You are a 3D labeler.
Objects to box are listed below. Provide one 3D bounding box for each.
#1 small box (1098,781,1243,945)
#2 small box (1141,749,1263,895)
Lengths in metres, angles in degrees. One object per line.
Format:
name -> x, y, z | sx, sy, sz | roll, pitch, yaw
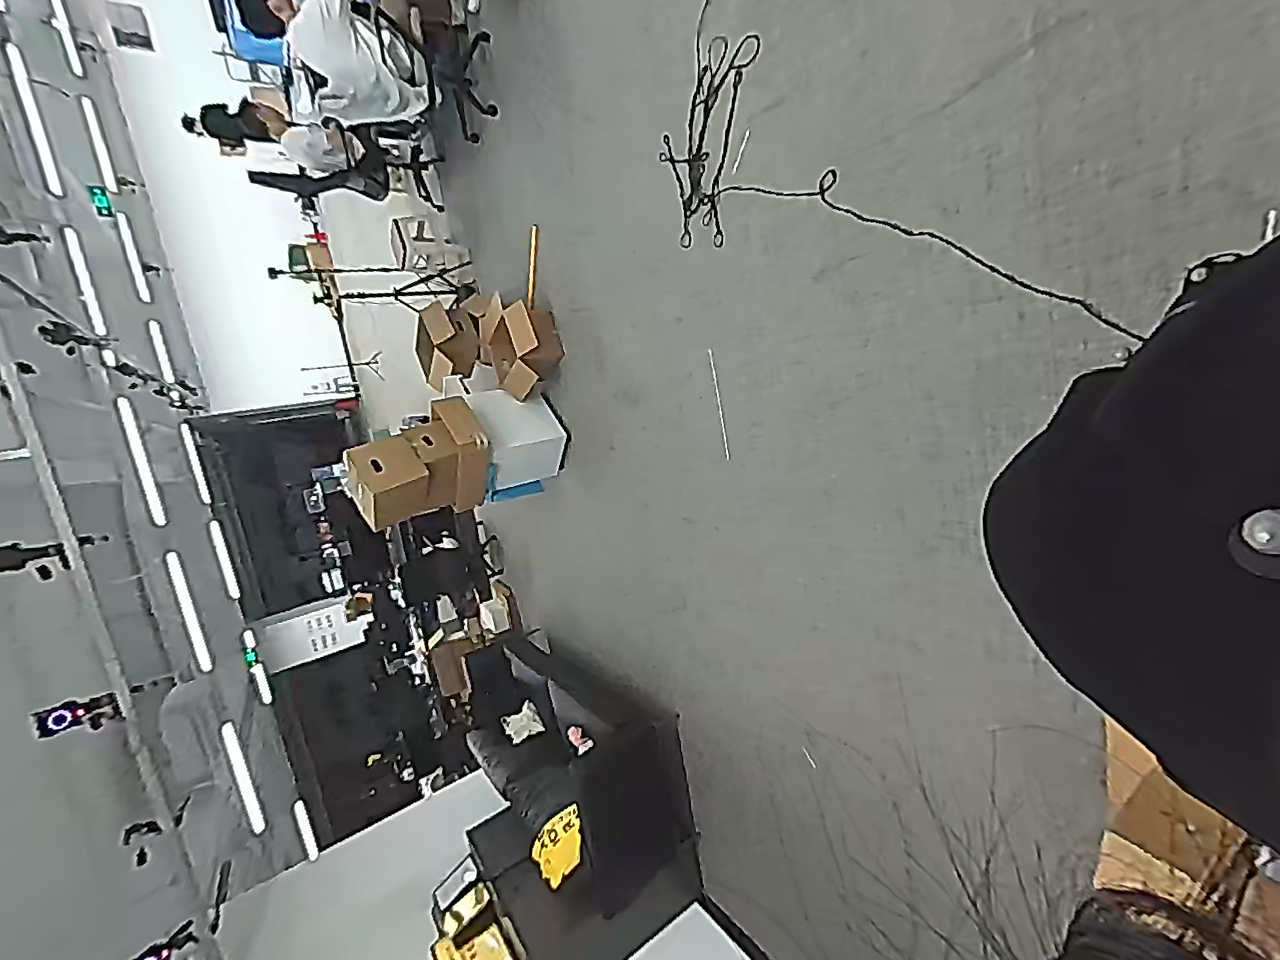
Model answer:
small box -> 1.082, 0.769, 1.105 | 0.168, 0.176, 0.179 | 20, 119, 53
small box -> 1.219, 0.735, 1.187 | 0.168, 0.176, 0.179 | 16, 118, 55
